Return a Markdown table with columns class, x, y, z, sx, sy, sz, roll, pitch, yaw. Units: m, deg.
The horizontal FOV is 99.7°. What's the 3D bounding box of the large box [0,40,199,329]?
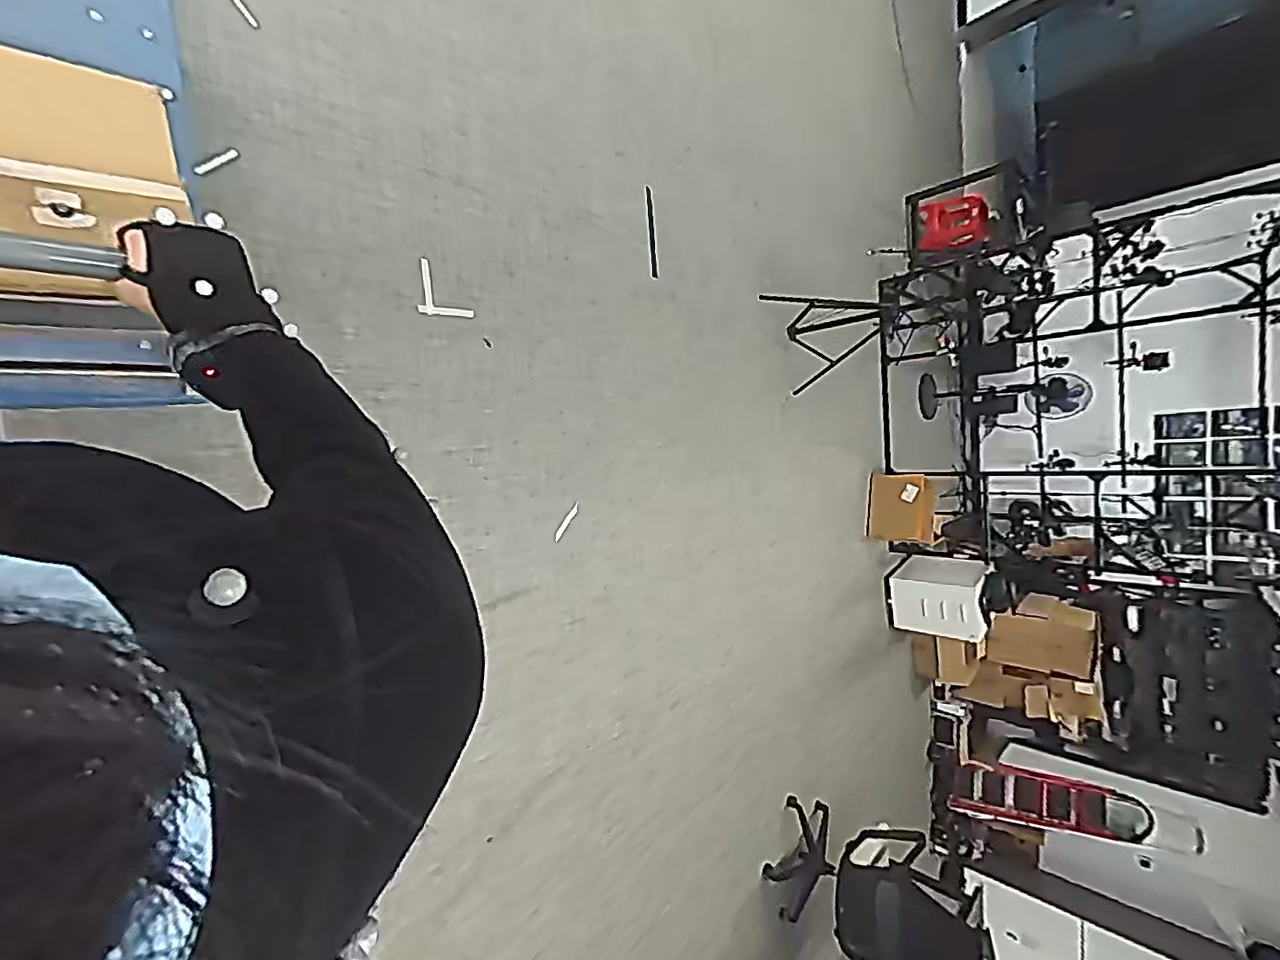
| class | x | y | z | sx | sy | sz | roll | pitch | yaw |
| --- | --- | --- | --- | --- | --- | --- | --- | --- | --- |
| large box | -0.945 | -0.404 | 0.778 | 0.408 | 0.320 | 0.320 | -14 | 101 | -46 |
